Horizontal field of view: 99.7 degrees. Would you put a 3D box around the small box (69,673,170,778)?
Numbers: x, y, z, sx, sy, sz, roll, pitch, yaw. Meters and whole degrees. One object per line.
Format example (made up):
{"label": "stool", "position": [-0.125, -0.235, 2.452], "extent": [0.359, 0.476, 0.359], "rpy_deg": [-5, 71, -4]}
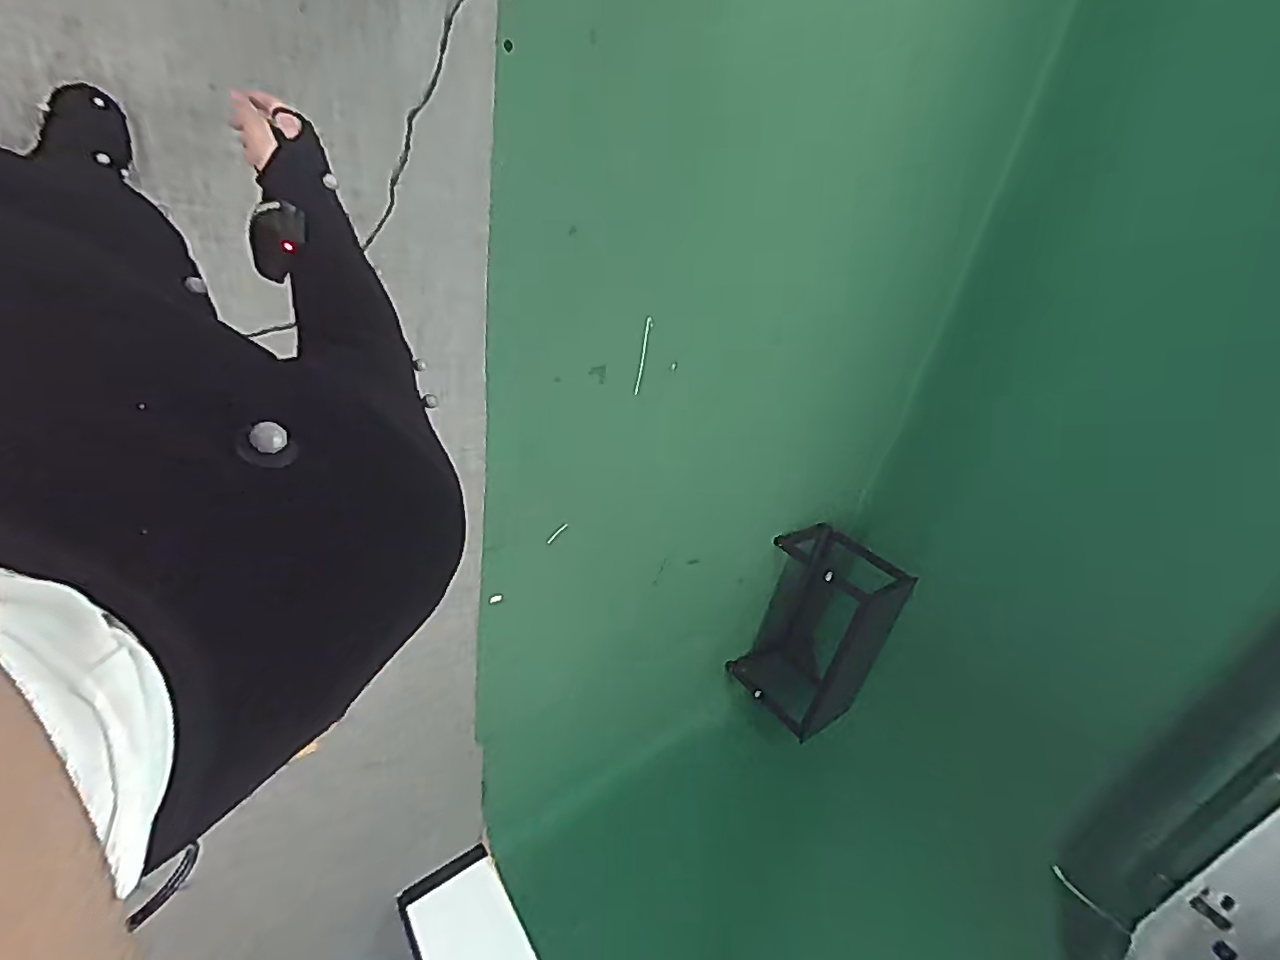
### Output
{"label": "small box", "position": [-1.439, 0.670, 1.500], "extent": [0.179, 0.176, 0.168], "rpy_deg": [-12, 125, -38]}
